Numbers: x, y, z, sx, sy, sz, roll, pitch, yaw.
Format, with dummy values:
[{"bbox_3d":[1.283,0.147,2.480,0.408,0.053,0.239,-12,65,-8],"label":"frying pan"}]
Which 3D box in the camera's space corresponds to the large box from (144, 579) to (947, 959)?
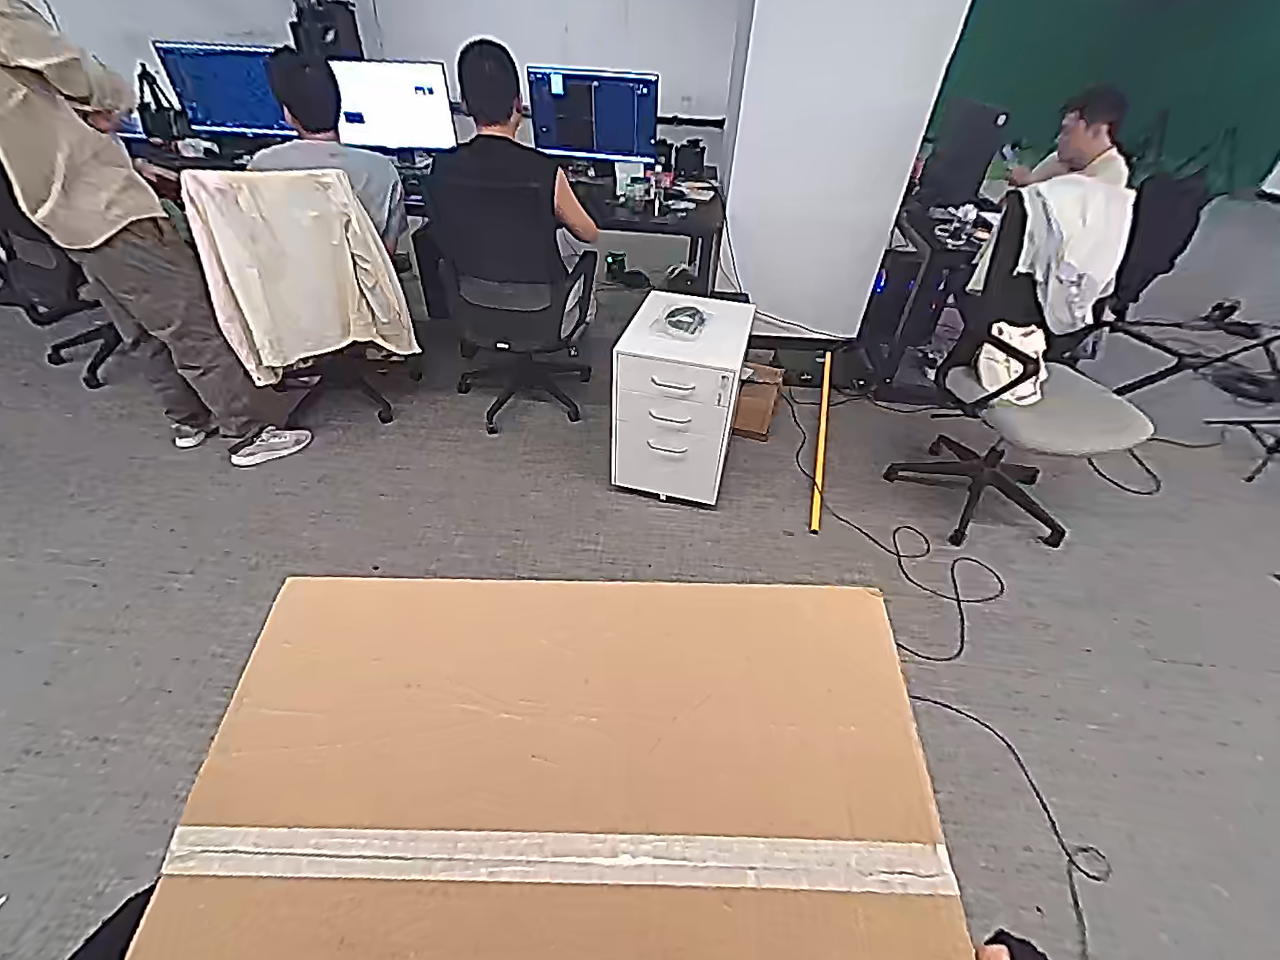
[{"bbox_3d":[-0.045,0.283,0.416,0.408,0.320,0.320,1,56,2],"label":"large box"}]
